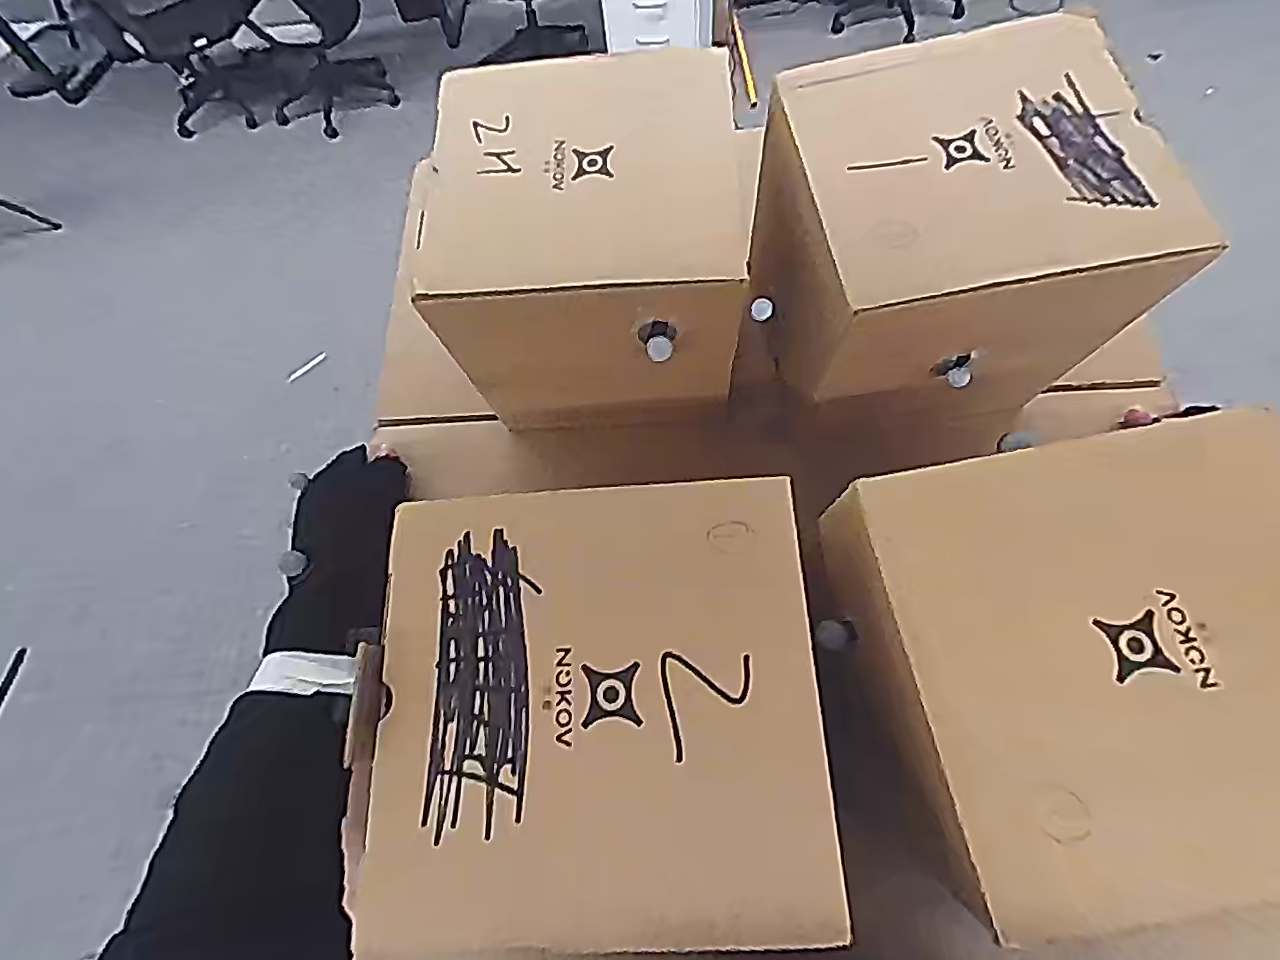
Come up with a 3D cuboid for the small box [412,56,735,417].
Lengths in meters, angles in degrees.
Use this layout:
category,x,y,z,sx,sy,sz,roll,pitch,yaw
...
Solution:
category,x,y,z,sx,sy,sz,roll,pitch,yaw
small box,-0.030,-0.153,0.386,0.179,0.176,0.168,-1,71,5
